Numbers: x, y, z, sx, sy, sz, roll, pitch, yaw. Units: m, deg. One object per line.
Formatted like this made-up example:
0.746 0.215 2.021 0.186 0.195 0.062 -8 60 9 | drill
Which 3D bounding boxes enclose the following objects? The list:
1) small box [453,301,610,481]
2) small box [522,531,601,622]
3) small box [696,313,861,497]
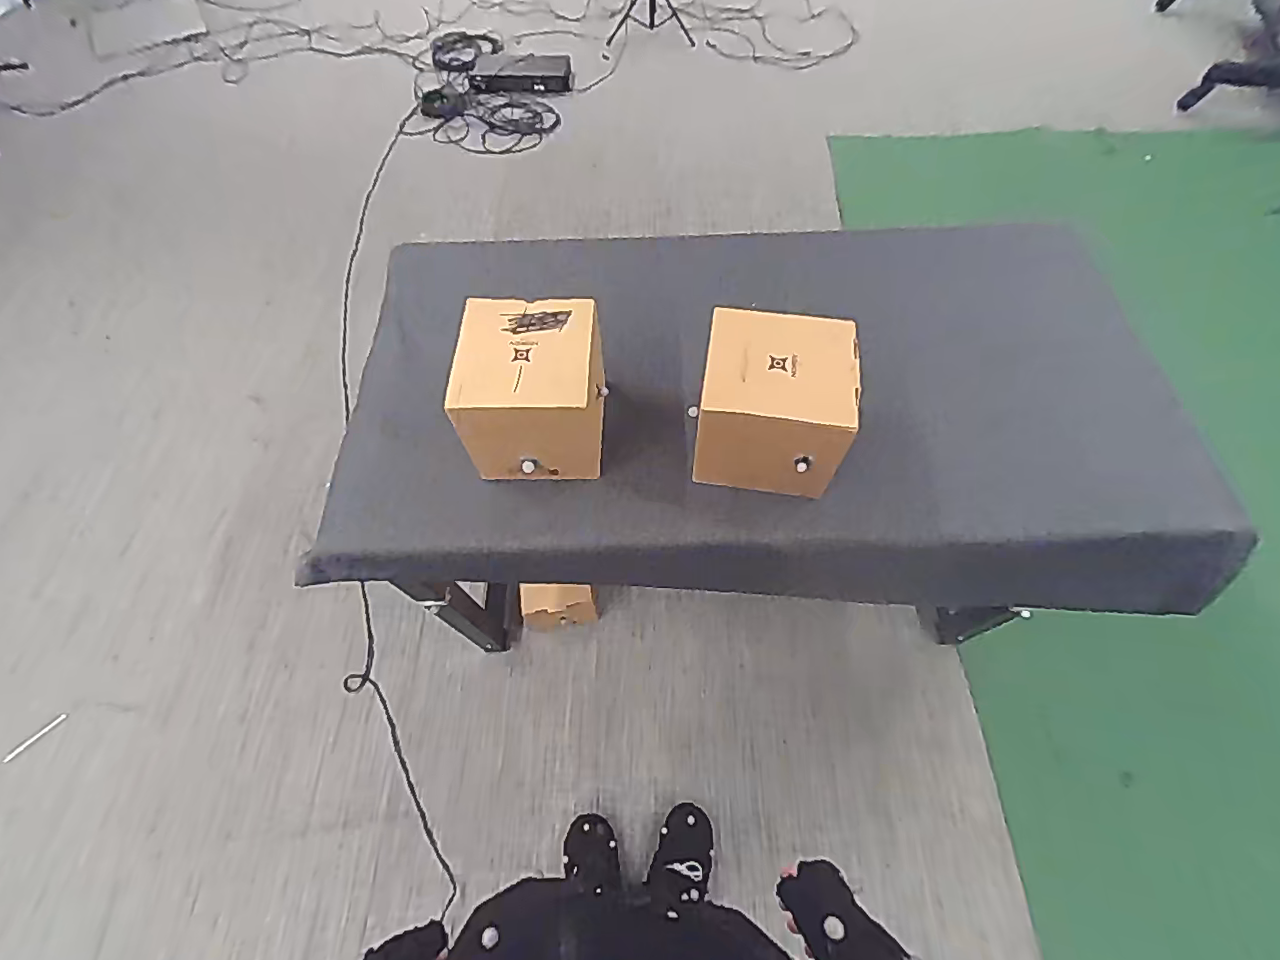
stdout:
-0.130 -0.116 0.726 0.168 0.176 0.179 0 61 2 | small box
-0.193 0.250 1.363 0.168 0.176 0.179 -9 62 -3 | small box
0.173 -0.091 0.707 0.179 0.176 0.168 7 61 7 | small box
